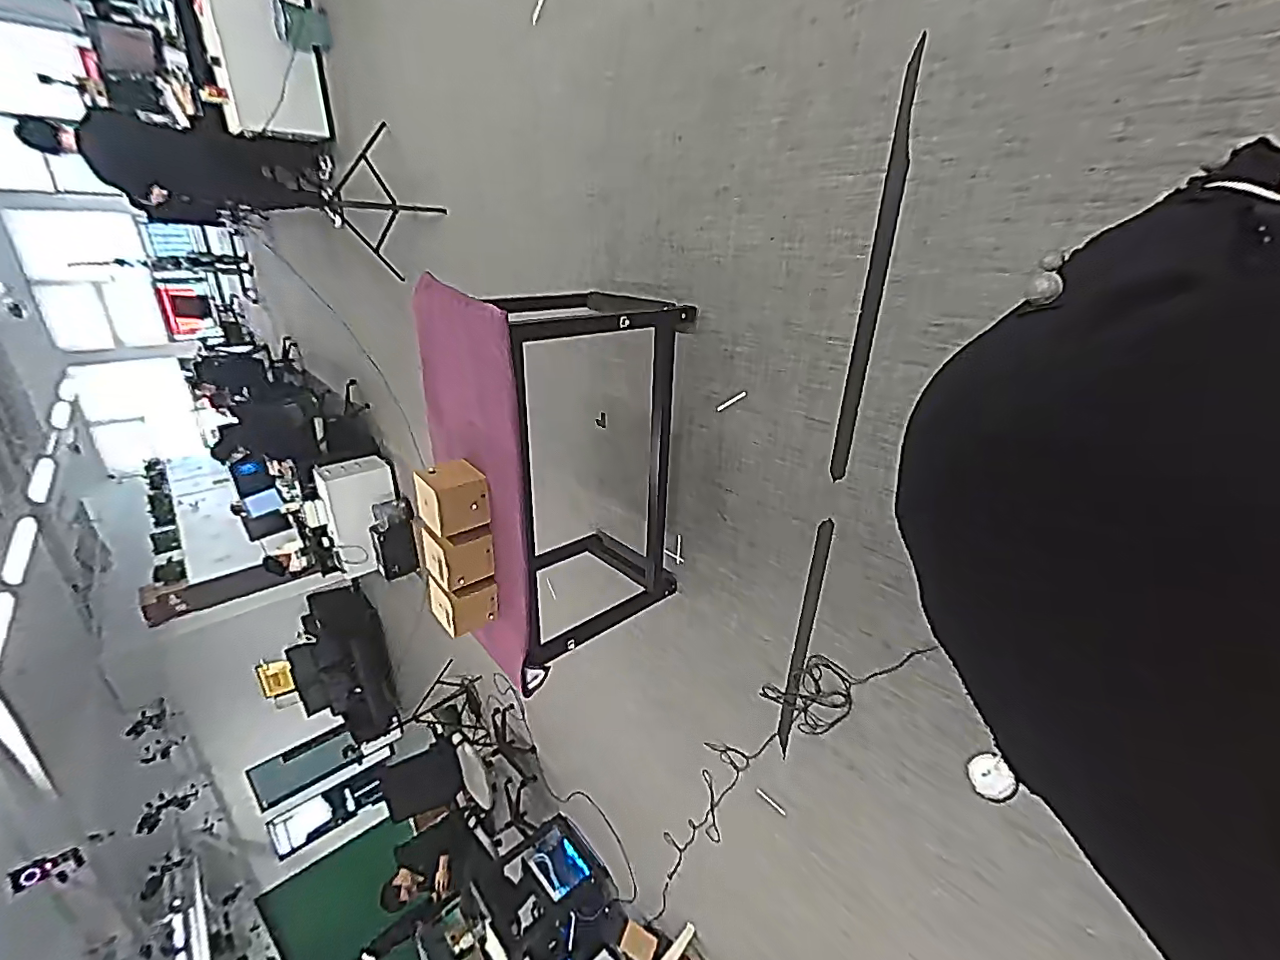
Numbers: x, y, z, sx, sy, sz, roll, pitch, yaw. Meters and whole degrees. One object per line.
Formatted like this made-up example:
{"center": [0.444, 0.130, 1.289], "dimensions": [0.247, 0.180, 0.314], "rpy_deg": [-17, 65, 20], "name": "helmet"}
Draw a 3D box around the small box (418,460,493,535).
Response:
{"center": [-0.586, 0.048, 1.725], "dimensions": [0.179, 0.176, 0.168], "rpy_deg": [30, 127, 41], "name": "small box"}
